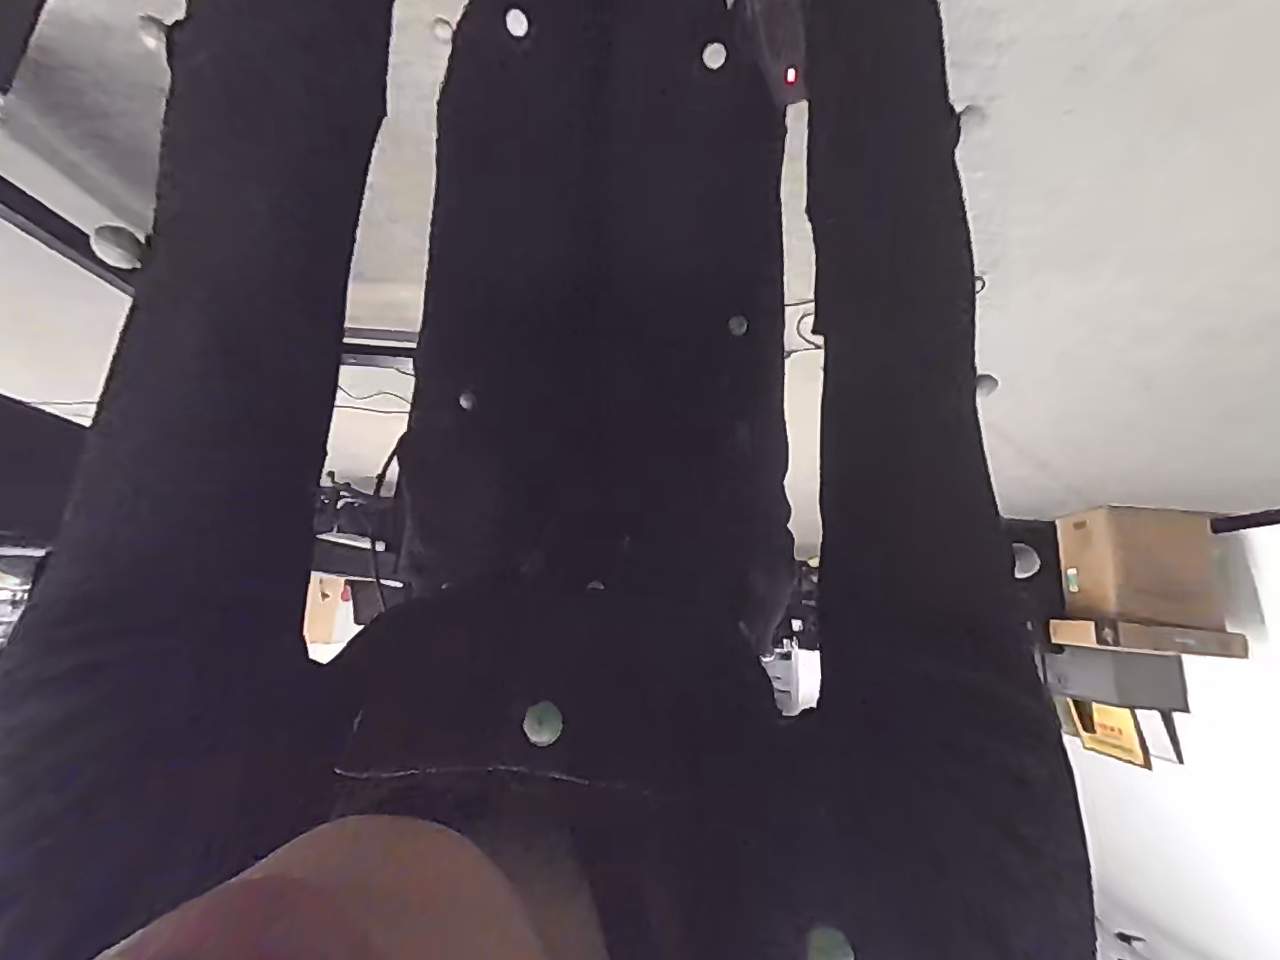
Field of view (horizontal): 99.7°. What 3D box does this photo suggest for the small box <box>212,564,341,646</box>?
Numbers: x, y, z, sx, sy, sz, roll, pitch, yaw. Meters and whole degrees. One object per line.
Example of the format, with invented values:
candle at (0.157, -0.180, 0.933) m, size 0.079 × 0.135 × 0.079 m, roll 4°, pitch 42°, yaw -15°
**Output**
small box at (-0.843, 0.292, 1.273) m, size 0.179 × 0.176 × 0.168 m, roll 6°, pitch 167°, yaw 1°
